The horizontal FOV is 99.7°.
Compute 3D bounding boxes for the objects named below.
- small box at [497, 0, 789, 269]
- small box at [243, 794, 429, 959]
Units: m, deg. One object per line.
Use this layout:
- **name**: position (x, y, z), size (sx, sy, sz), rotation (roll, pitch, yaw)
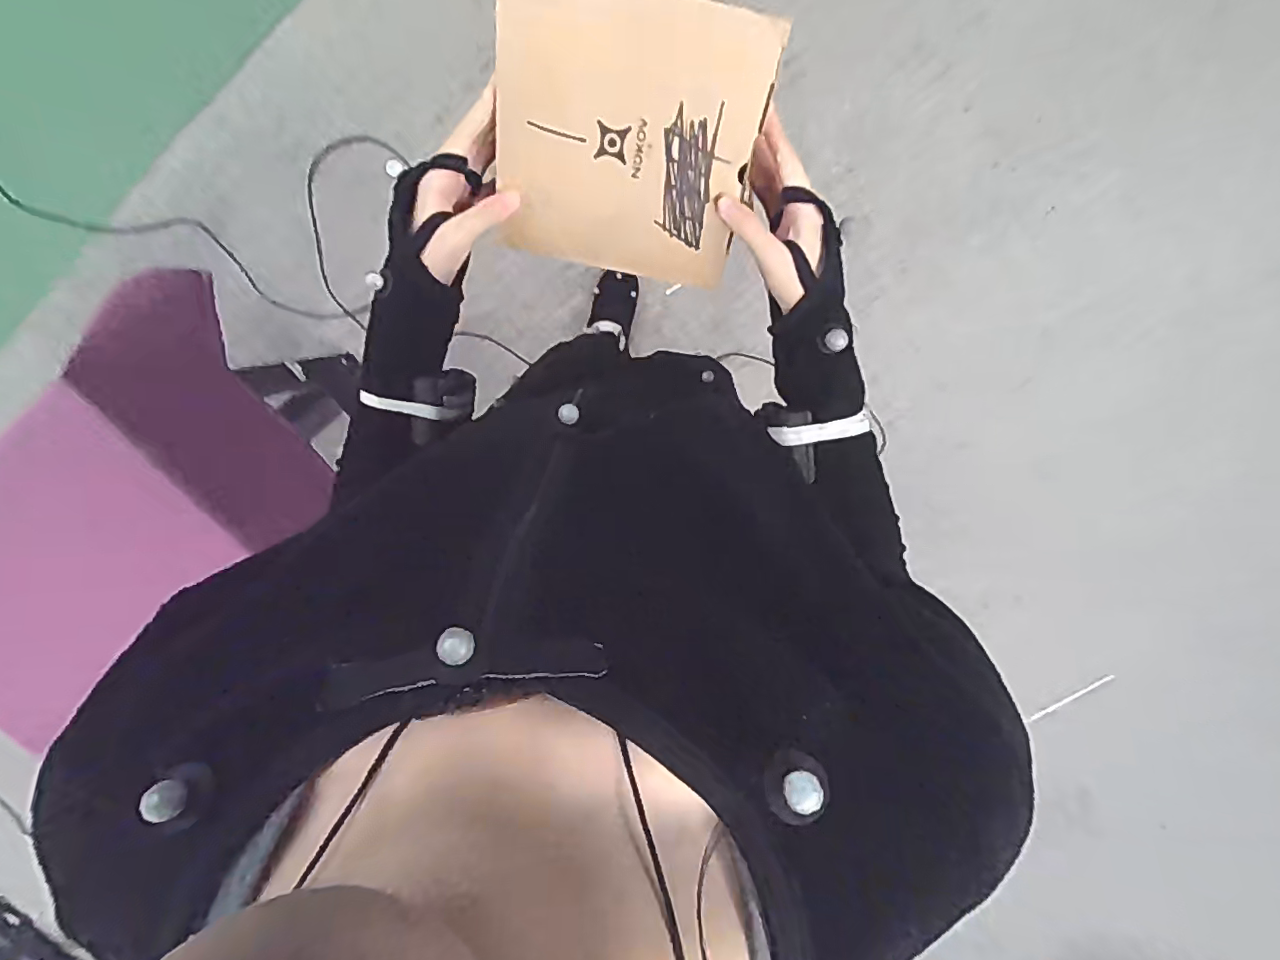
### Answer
- **small box**: position (-0.002, -0.292, 0.427), size (0.179, 0.176, 0.168), rotation (12, 130, -2)
- **small box**: position (-0.488, 0.673, 0.900), size (0.168, 0.176, 0.179), rotation (-25, 104, 9)
